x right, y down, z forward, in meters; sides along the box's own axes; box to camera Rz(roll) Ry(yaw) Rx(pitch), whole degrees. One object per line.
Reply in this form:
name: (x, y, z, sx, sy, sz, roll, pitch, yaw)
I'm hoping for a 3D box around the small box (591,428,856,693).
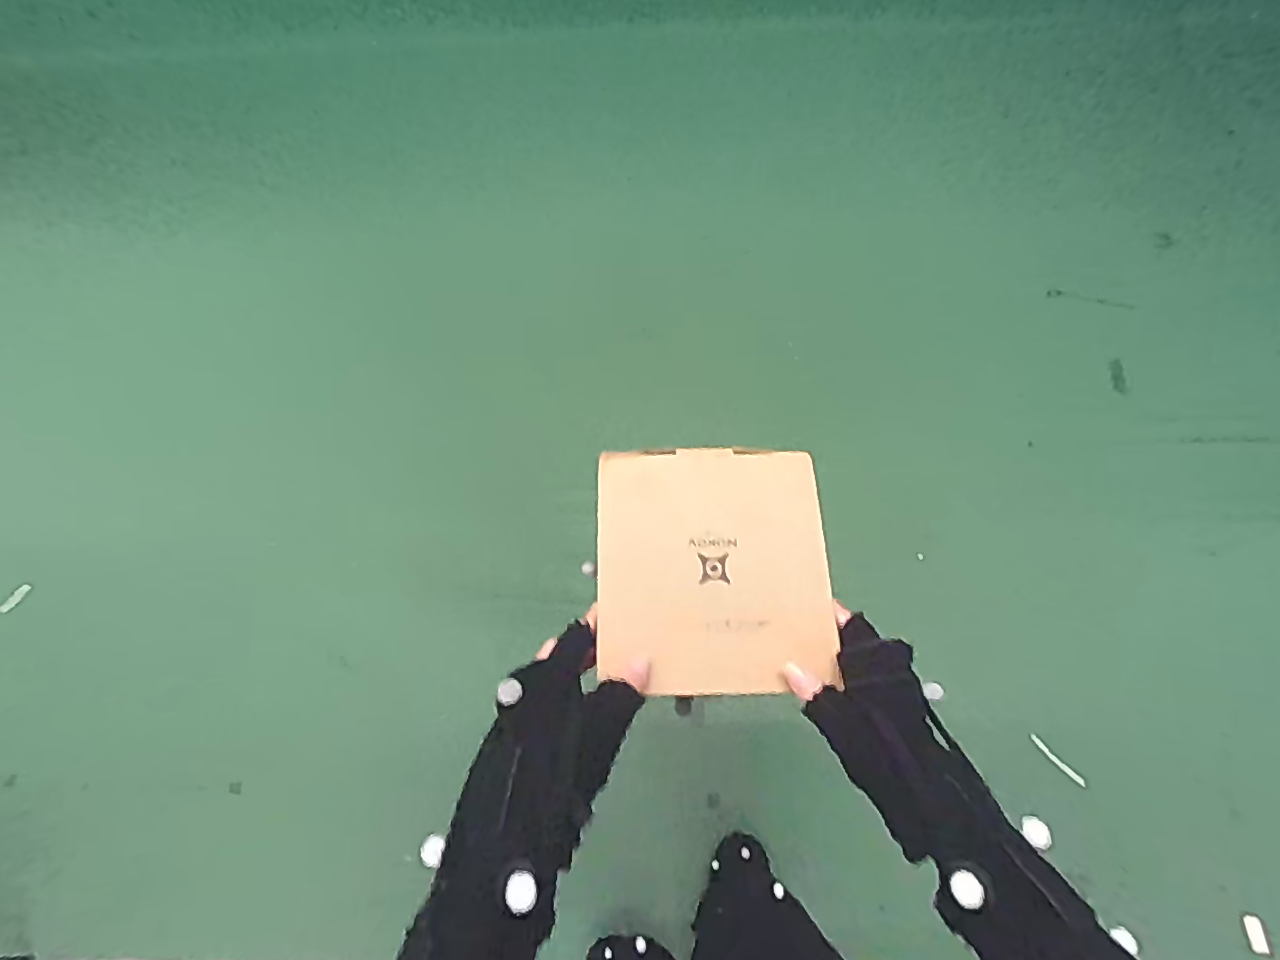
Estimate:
small box: (0.049, 0.074, 0.432, 0.168, 0.176, 0.179, 1, 69, -1)
